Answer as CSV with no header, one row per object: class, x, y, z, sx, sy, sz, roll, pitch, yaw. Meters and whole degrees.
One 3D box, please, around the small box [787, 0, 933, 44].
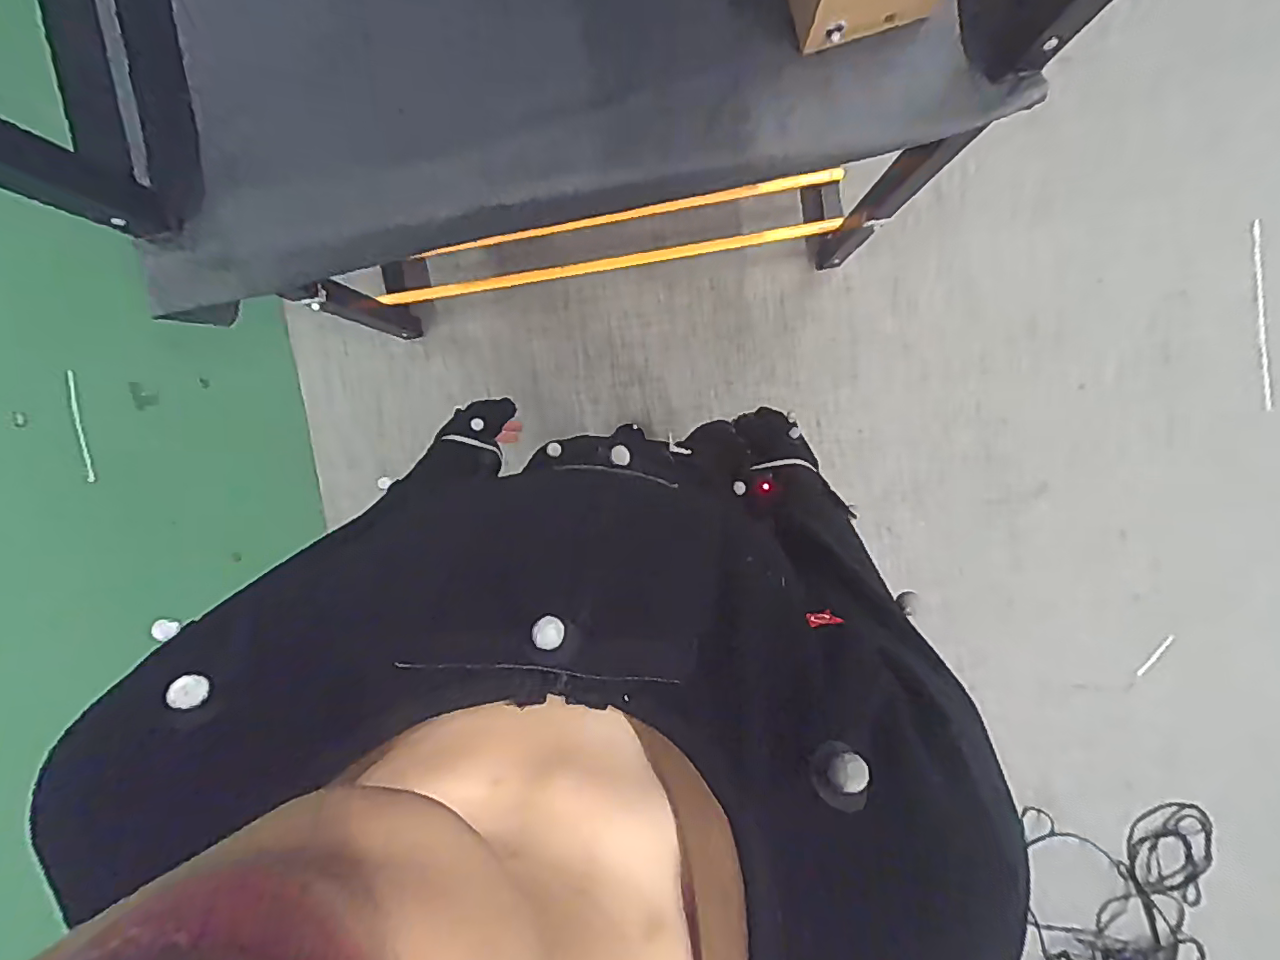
small box,0.259,-0.638,0.604,0.168,0.176,0.179,-14,92,4
